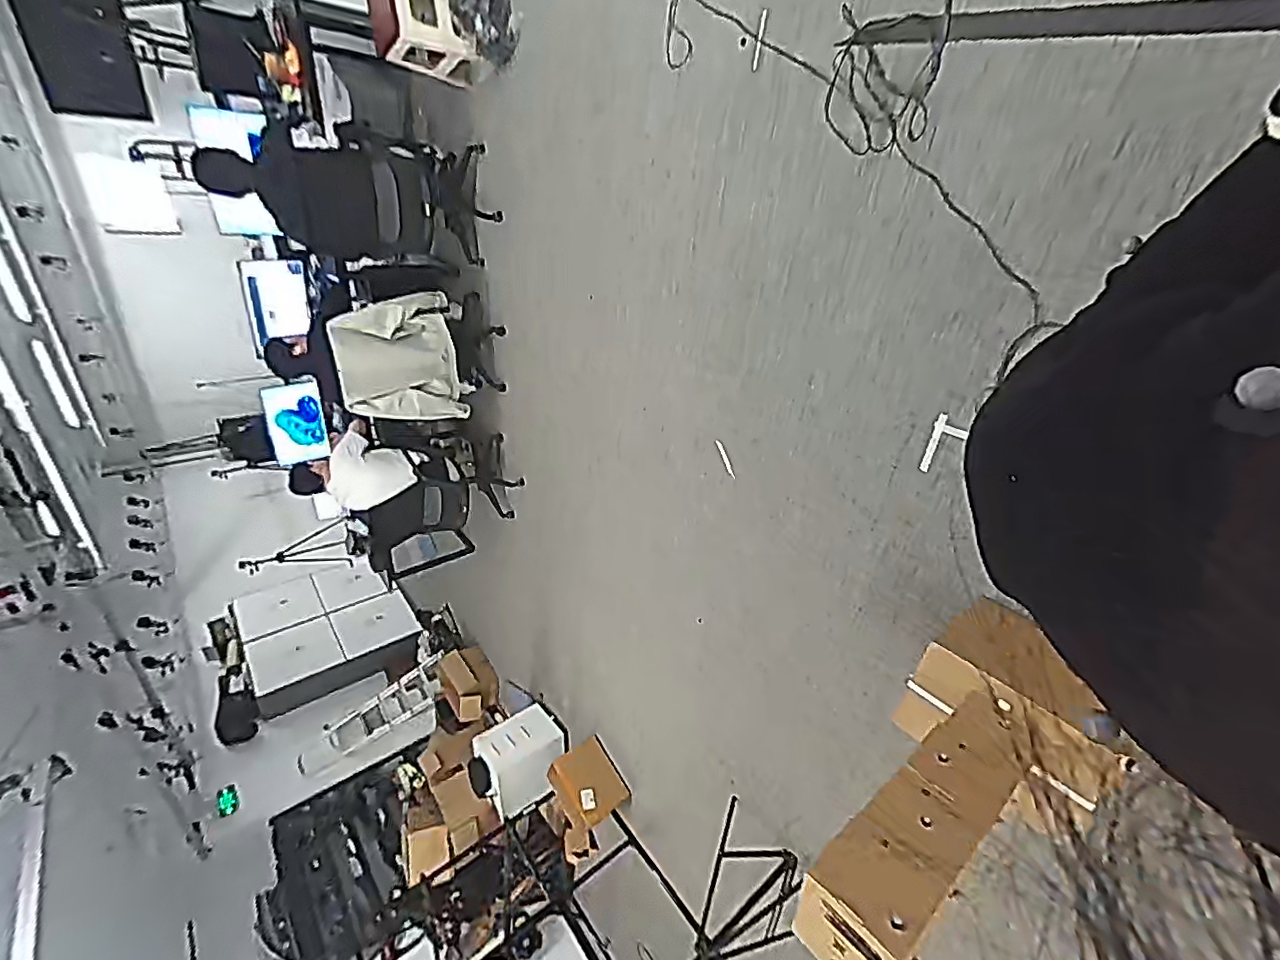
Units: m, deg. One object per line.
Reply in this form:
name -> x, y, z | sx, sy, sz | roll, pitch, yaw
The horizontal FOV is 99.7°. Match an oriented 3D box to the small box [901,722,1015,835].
small box -> 0.639, 0.646, 1.121 | 0.168, 0.176, 0.179 | 33, 129, 42

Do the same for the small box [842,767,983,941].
small box -> 0.515, 0.691, 1.022 | 0.168, 0.176, 0.179 | 29, 125, 45

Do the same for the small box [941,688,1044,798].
small box -> 0.766, 0.612, 1.216 | 0.168, 0.176, 0.179 | 33, 128, 40
